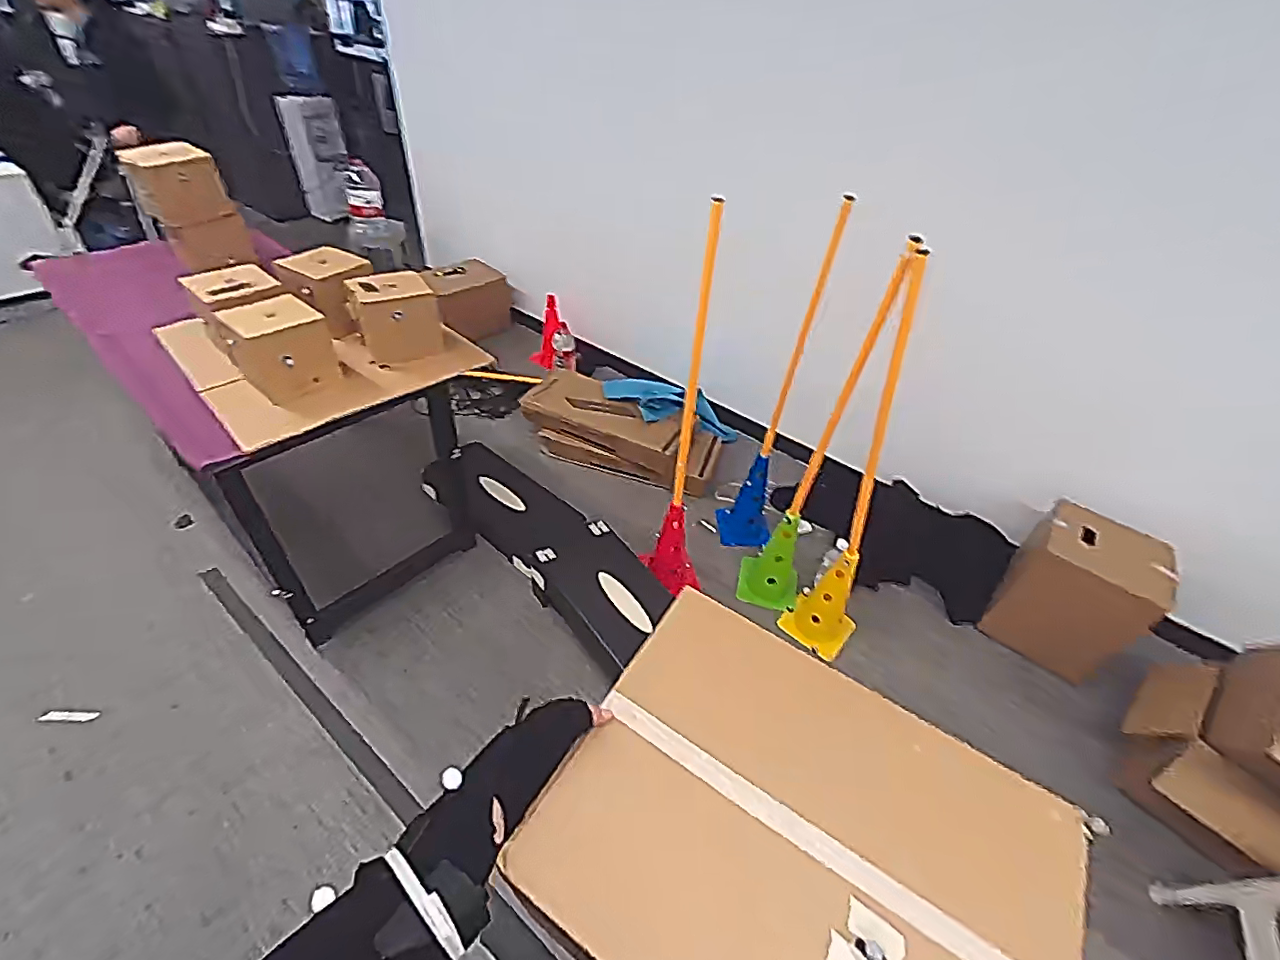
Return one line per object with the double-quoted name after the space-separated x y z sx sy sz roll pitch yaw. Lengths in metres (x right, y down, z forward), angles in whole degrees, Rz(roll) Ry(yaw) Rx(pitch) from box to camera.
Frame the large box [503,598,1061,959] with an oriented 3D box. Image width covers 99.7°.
0.121 0.405 0.567 0.408 0.320 0.320 28 51 20 "large box"
